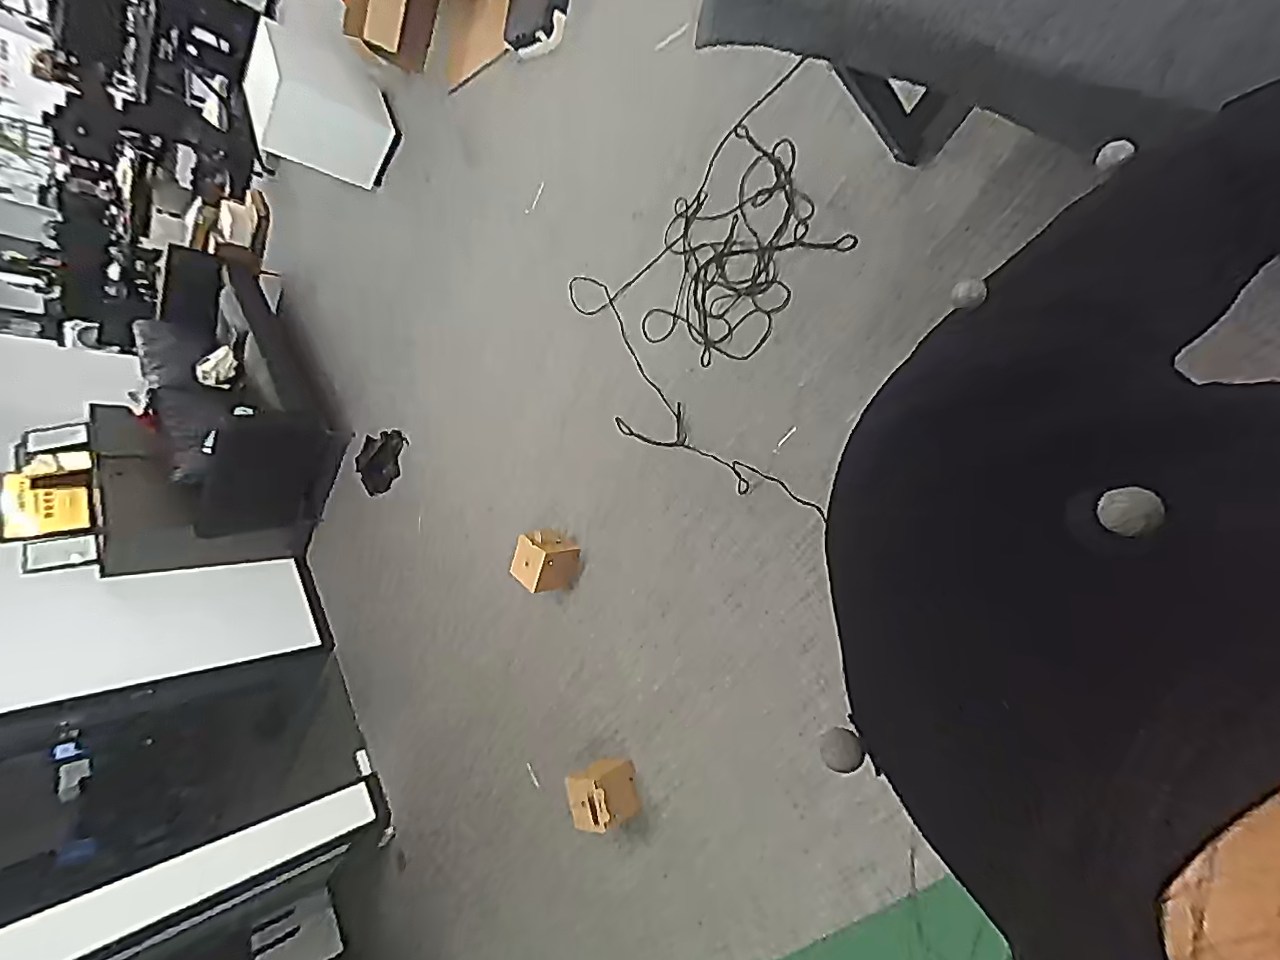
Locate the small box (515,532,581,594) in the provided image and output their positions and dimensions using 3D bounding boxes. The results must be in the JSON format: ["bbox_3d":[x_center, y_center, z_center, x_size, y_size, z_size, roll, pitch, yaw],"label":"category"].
[{"bbox_3d":[-0.350,0.315,2.081,0.168,0.176,0.179,31,109,37],"label":"small box"}]
